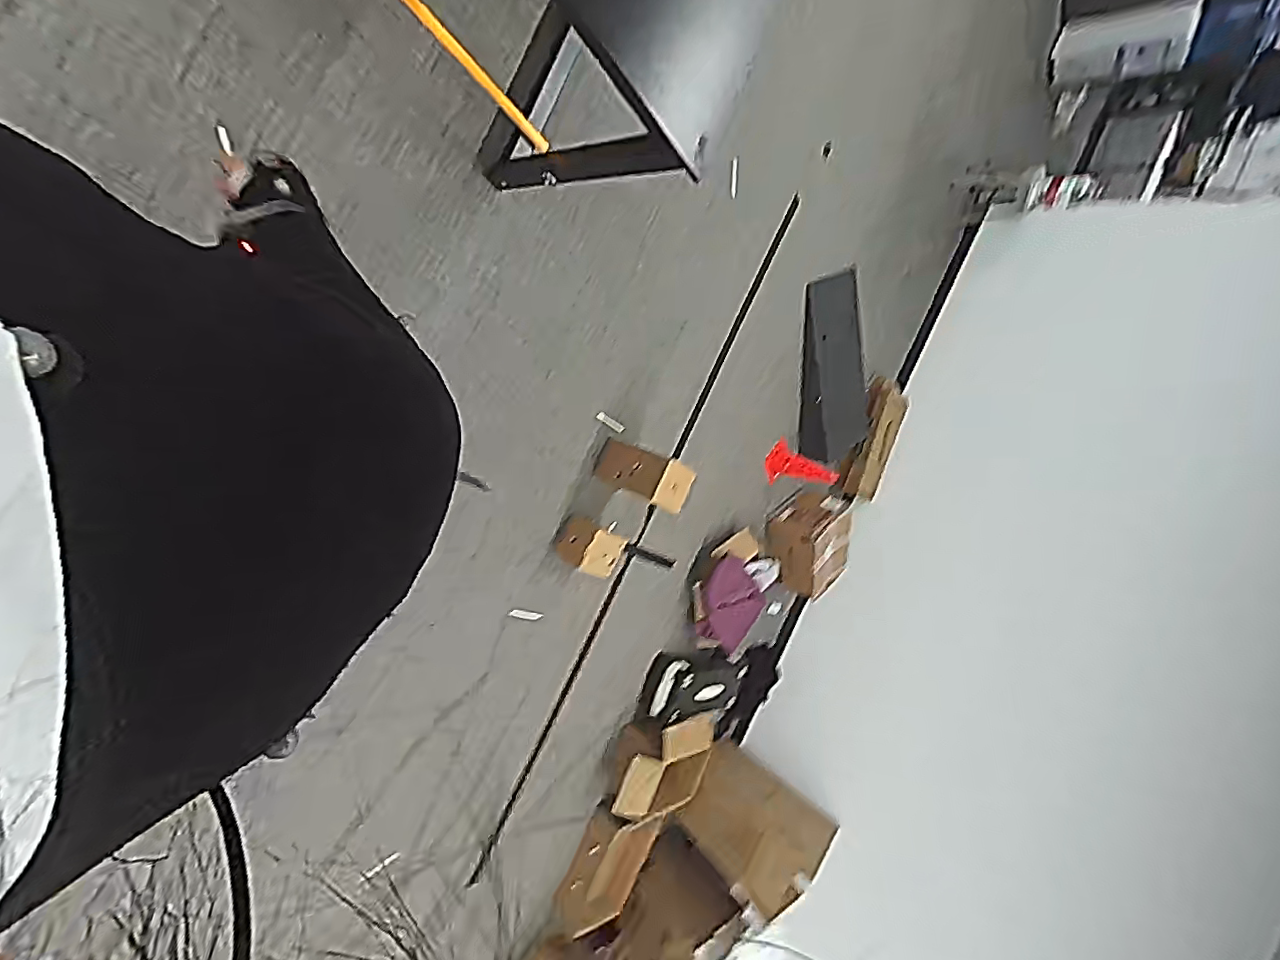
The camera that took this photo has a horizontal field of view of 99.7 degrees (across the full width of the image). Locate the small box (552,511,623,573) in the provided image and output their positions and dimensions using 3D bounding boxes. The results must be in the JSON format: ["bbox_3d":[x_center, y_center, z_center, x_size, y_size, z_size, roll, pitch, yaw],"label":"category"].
[{"bbox_3d":[-0.205,0.233,2.069,0.179,0.176,0.168,30,85,-48],"label":"small box"}]

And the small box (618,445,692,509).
[{"bbox_3d":[0.053,-0.014,1.975,0.179,0.176,0.168,27,86,-48],"label":"small box"}]

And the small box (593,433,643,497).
[{"bbox_3d":[-0.058,-0.059,2.085,0.168,0.176,0.179,26,88,-50],"label":"small box"}]
